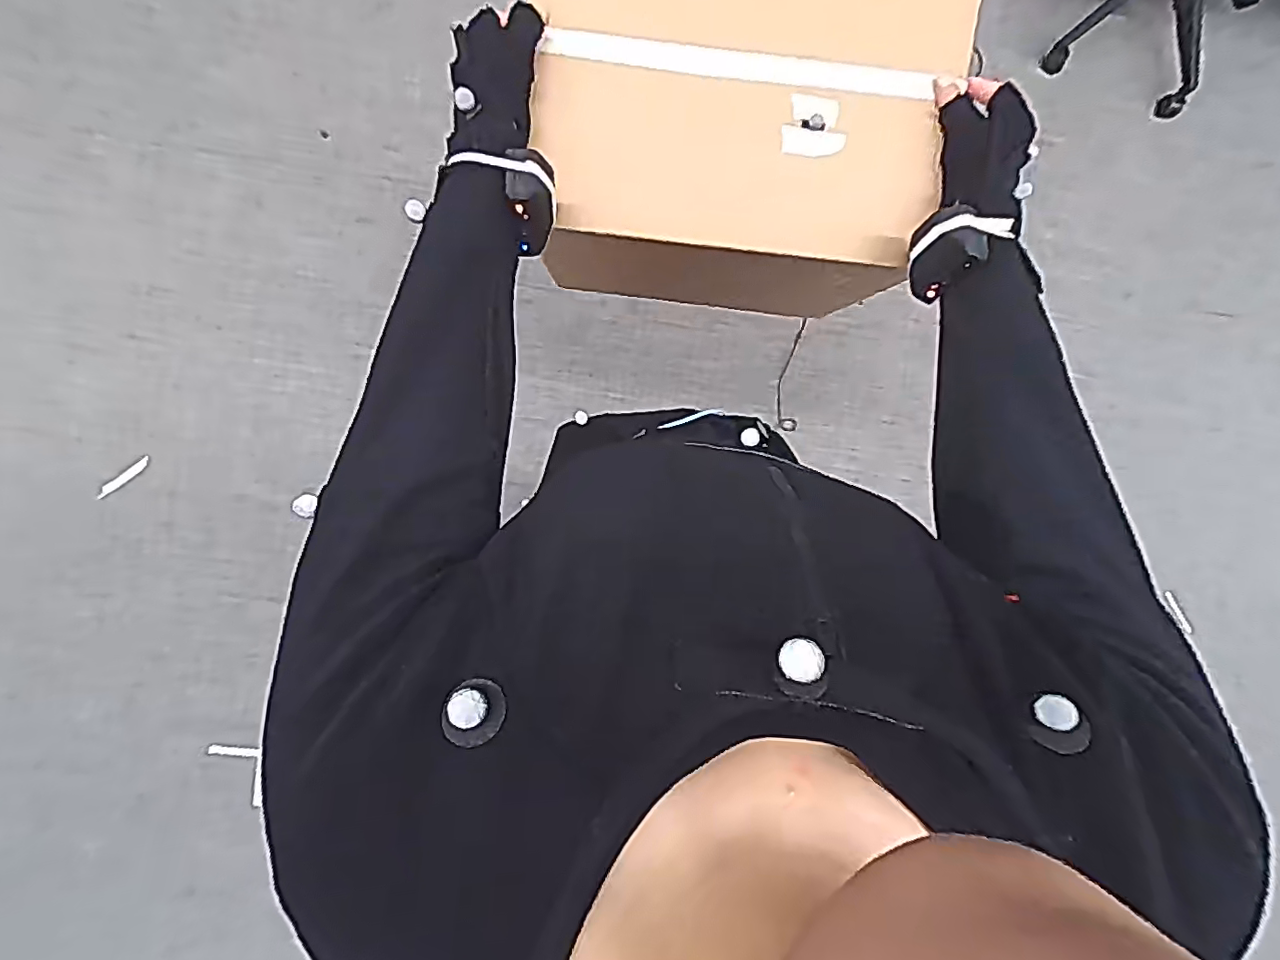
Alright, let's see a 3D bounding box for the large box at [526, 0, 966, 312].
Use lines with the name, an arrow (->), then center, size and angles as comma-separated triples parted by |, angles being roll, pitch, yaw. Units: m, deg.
large box -> 0.092, -0.402, 0.654 | 0.408, 0.320, 0.320 | 5, 99, -3
